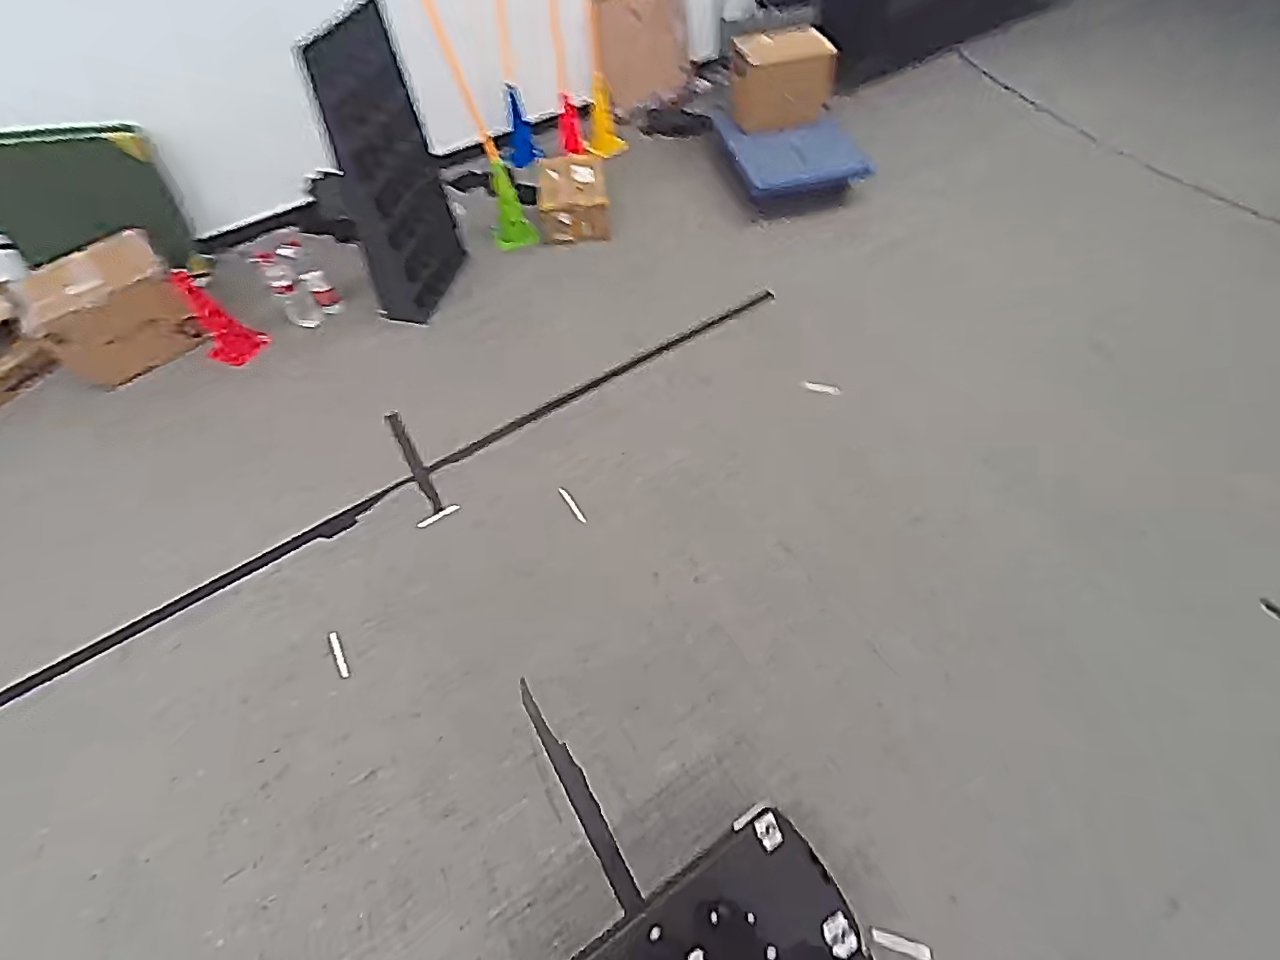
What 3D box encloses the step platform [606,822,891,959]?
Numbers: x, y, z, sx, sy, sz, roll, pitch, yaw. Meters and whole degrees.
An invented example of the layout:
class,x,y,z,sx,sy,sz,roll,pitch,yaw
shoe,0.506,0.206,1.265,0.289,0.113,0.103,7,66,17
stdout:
class,x,y,z,sx,sy,sz,roll,pitch,yaw
step platform,0.138,0.989,1.052,0.684,0.204,0.286,-26,57,-14
